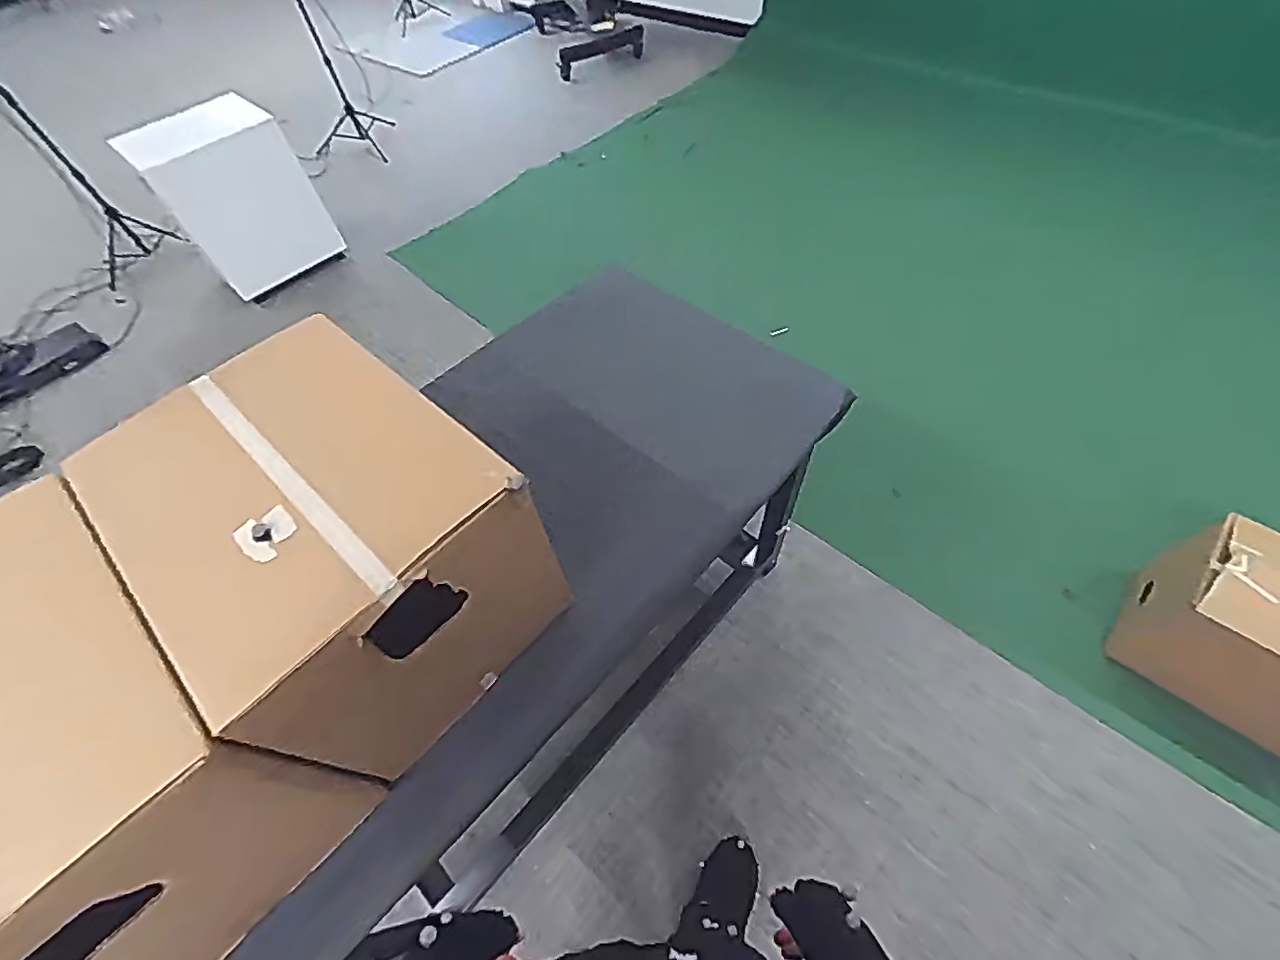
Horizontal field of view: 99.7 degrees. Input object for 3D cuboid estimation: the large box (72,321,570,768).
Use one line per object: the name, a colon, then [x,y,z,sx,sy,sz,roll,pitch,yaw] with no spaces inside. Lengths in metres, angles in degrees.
large box: [-0.350,0.075,0.678,0.408,0.320,0.320,35,66,24]
